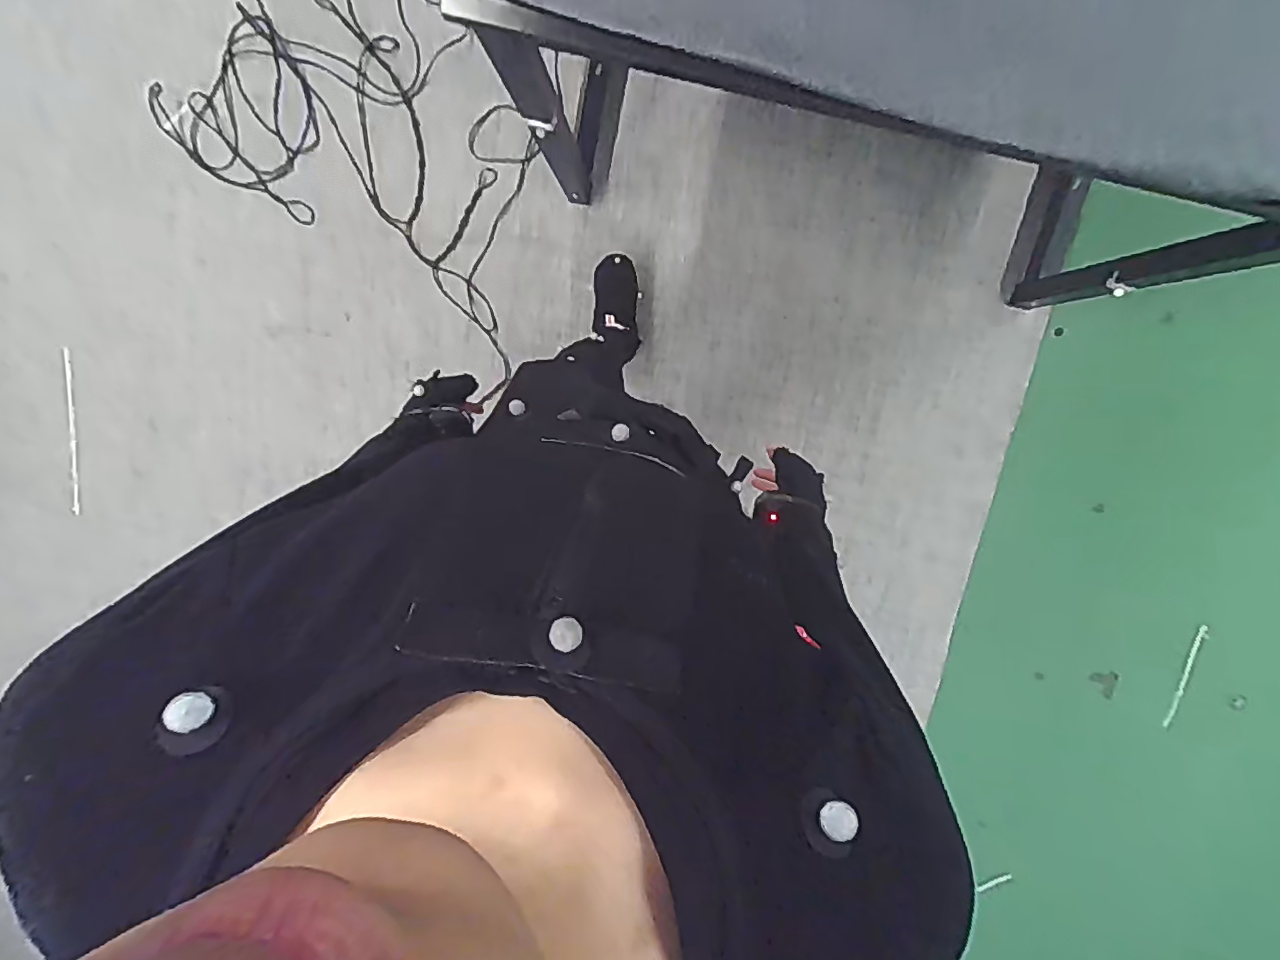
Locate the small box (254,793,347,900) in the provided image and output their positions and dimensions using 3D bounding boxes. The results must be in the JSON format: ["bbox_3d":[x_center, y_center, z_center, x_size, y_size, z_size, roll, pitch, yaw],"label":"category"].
[{"bbox_3d":[-0.979,1.058,1.569,0.168,0.176,0.179,12,101,1],"label":"small box"}]
